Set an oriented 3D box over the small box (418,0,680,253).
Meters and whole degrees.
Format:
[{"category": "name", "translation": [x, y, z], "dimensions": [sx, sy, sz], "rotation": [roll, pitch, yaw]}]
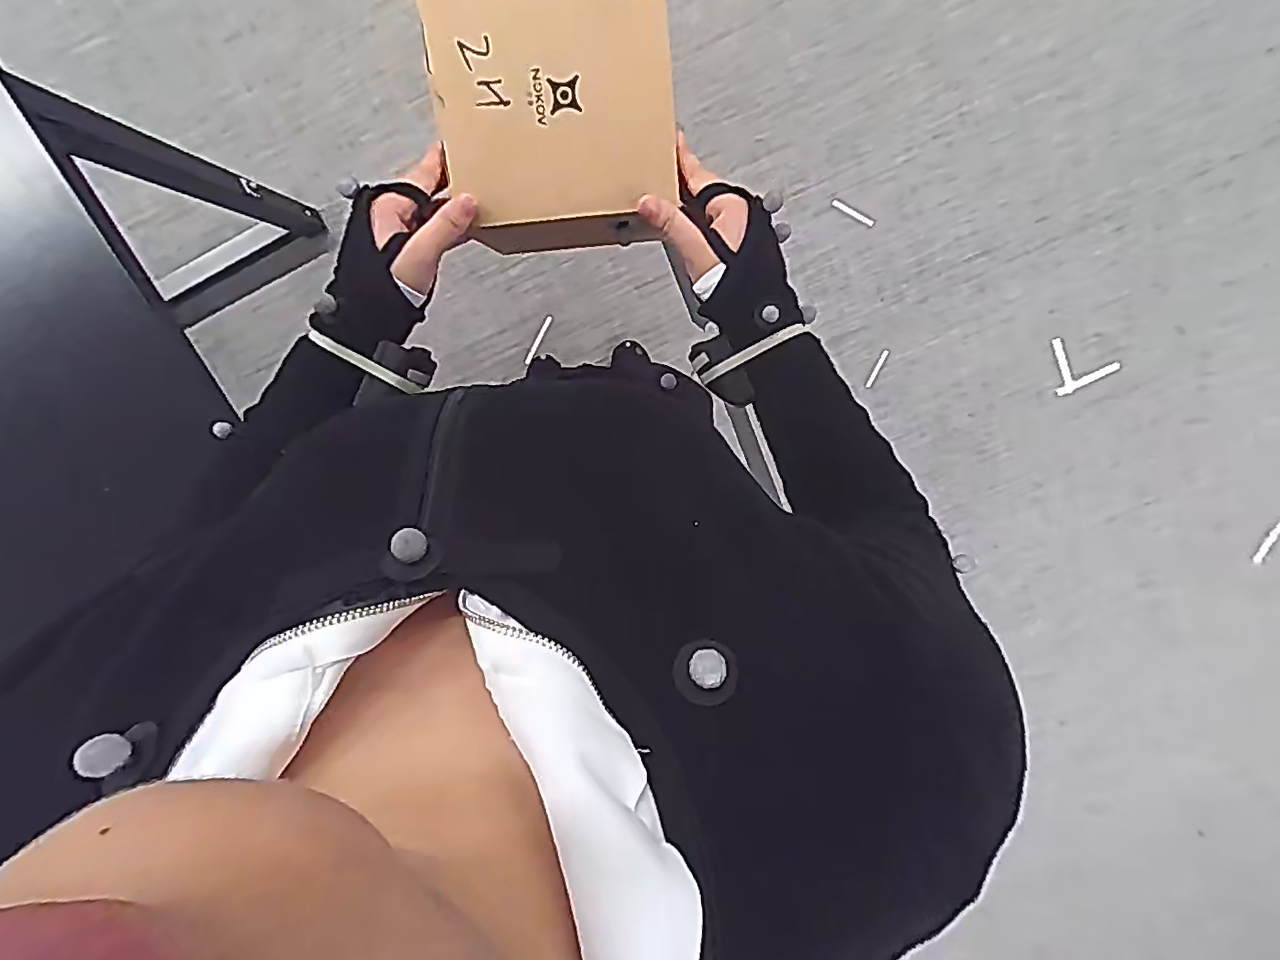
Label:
[{"category": "small box", "translation": [-0.064, -0.300, 0.469], "dimensions": [0.179, 0.176, 0.168], "rotation": [-5, 106, 1]}]
